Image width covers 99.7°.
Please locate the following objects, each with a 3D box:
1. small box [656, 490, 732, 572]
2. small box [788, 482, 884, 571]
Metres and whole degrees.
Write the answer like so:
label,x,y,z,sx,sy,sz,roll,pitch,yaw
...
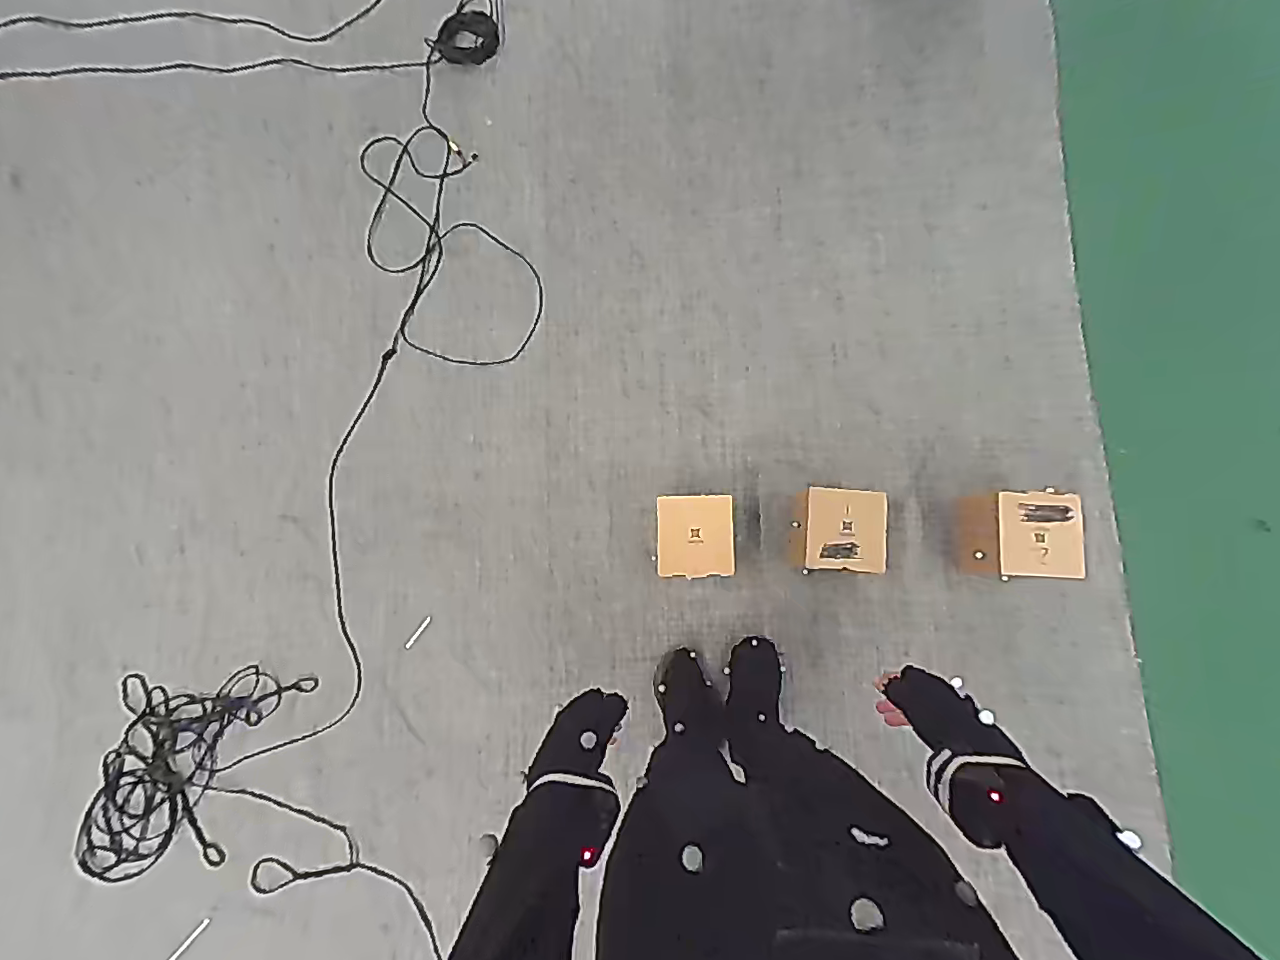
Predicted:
label,x,y,z,sx,sy,sz,roll,pitch,yaw
small box,0.120,0.121,1.242,0.168,0.176,0.179,-2,82,5
small box,0.434,0.107,1.217,0.168,0.176,0.179,5,82,5
